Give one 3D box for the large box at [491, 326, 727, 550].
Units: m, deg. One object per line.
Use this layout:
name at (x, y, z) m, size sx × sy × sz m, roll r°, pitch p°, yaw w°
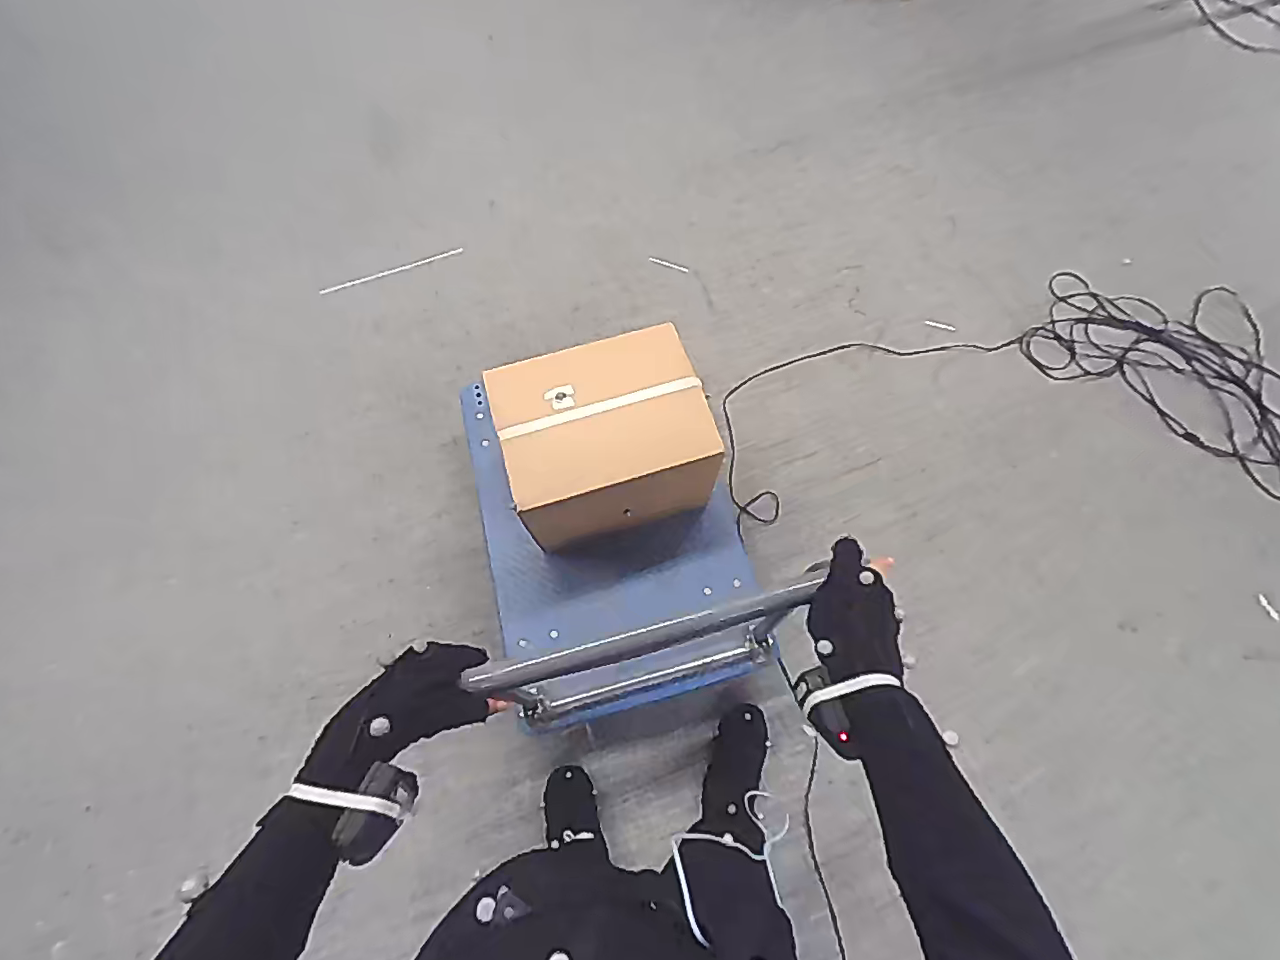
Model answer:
large box at (-0.065, -0.077, 1.195) m, size 0.408 × 0.320 × 0.320 m, roll -17°, pitch 69°, yaw -6°
